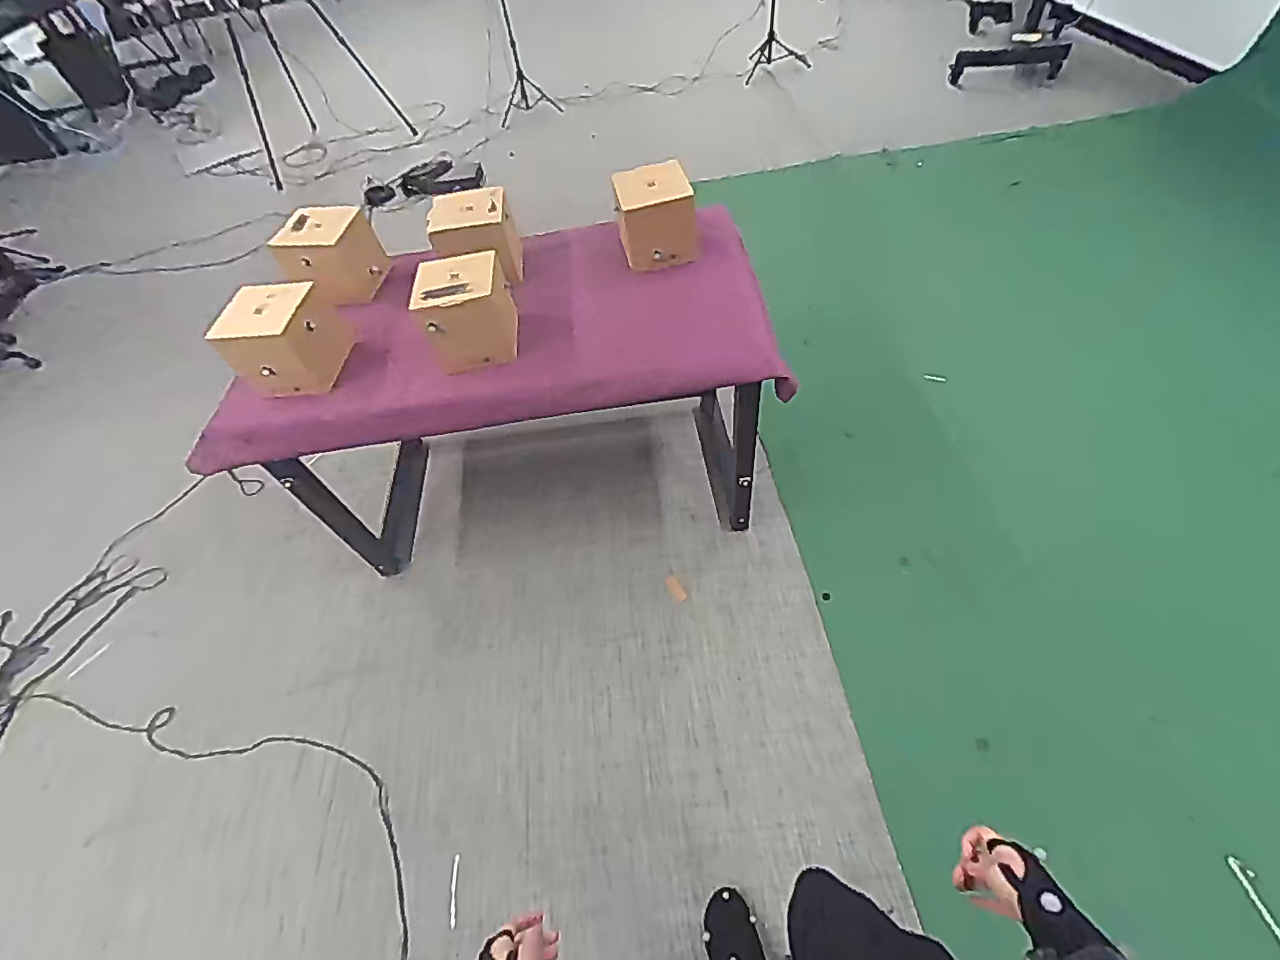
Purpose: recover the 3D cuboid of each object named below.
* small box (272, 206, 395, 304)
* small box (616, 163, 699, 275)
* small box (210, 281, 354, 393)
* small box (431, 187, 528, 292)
[{"bbox_3d":[-0.756,-0.560,1.354,0.179,0.176,0.168,3,56,7],"label":"small box"},{"bbox_3d":[0.044,-0.628,1.307,0.168,0.176,0.179,-13,55,0],"label":"small box"},{"bbox_3d":[-0.754,-0.301,1.165,0.168,0.176,0.179,-1,54,5],"label":"small box"},{"bbox_3d":[-0.387,-0.584,1.329,0.179,0.176,0.168,-9,55,2],"label":"small box"}]
